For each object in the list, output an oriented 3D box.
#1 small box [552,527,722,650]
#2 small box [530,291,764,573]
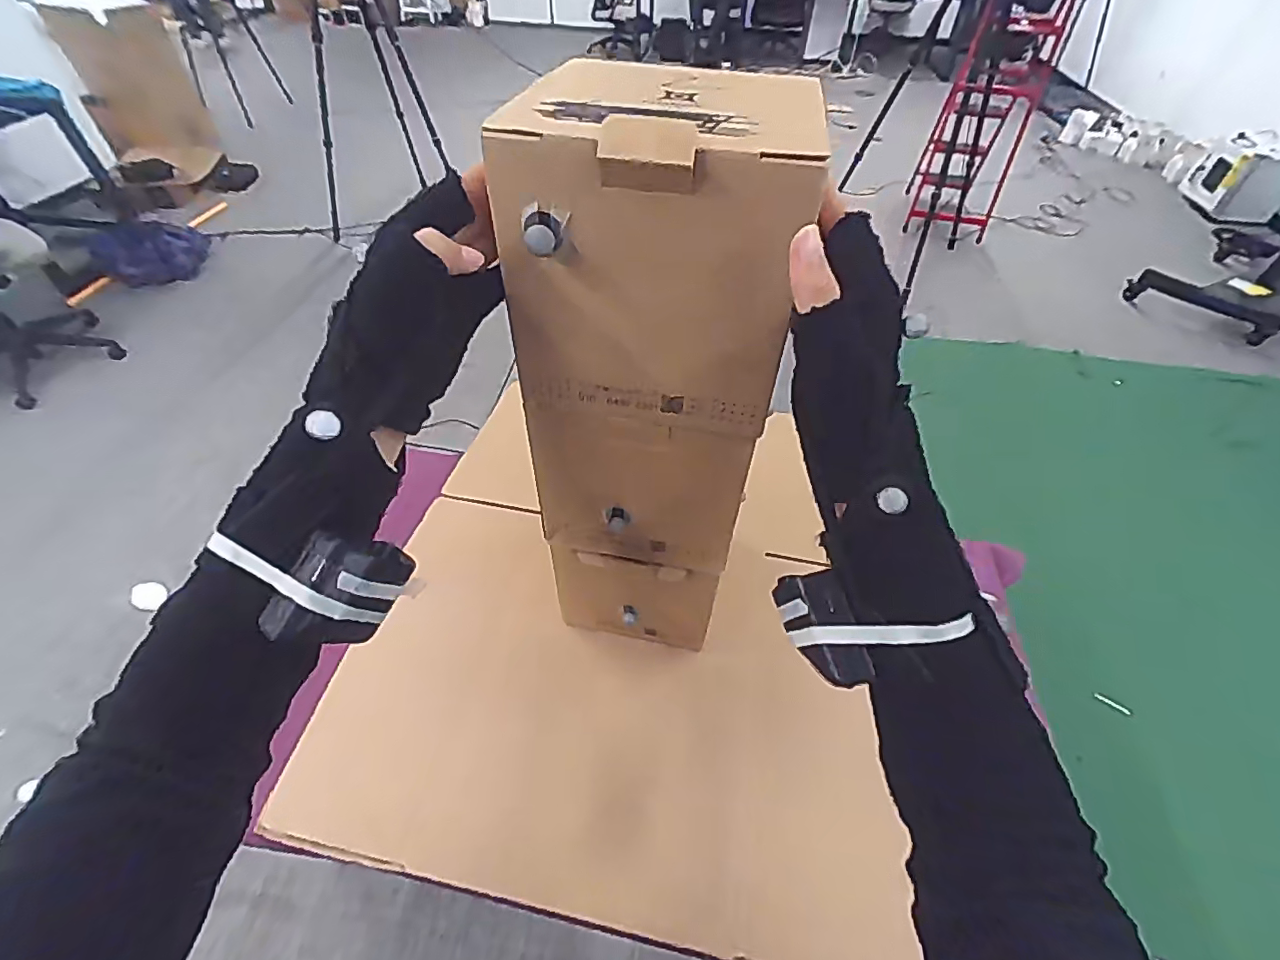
[{"bbox_3d":[0.010,0.063,0.614,0.168,0.176,0.179,9,48,8],"label":"small box"},{"bbox_3d":[0.012,-0.044,0.490,0.168,0.176,0.179,9,48,6],"label":"small box"}]
